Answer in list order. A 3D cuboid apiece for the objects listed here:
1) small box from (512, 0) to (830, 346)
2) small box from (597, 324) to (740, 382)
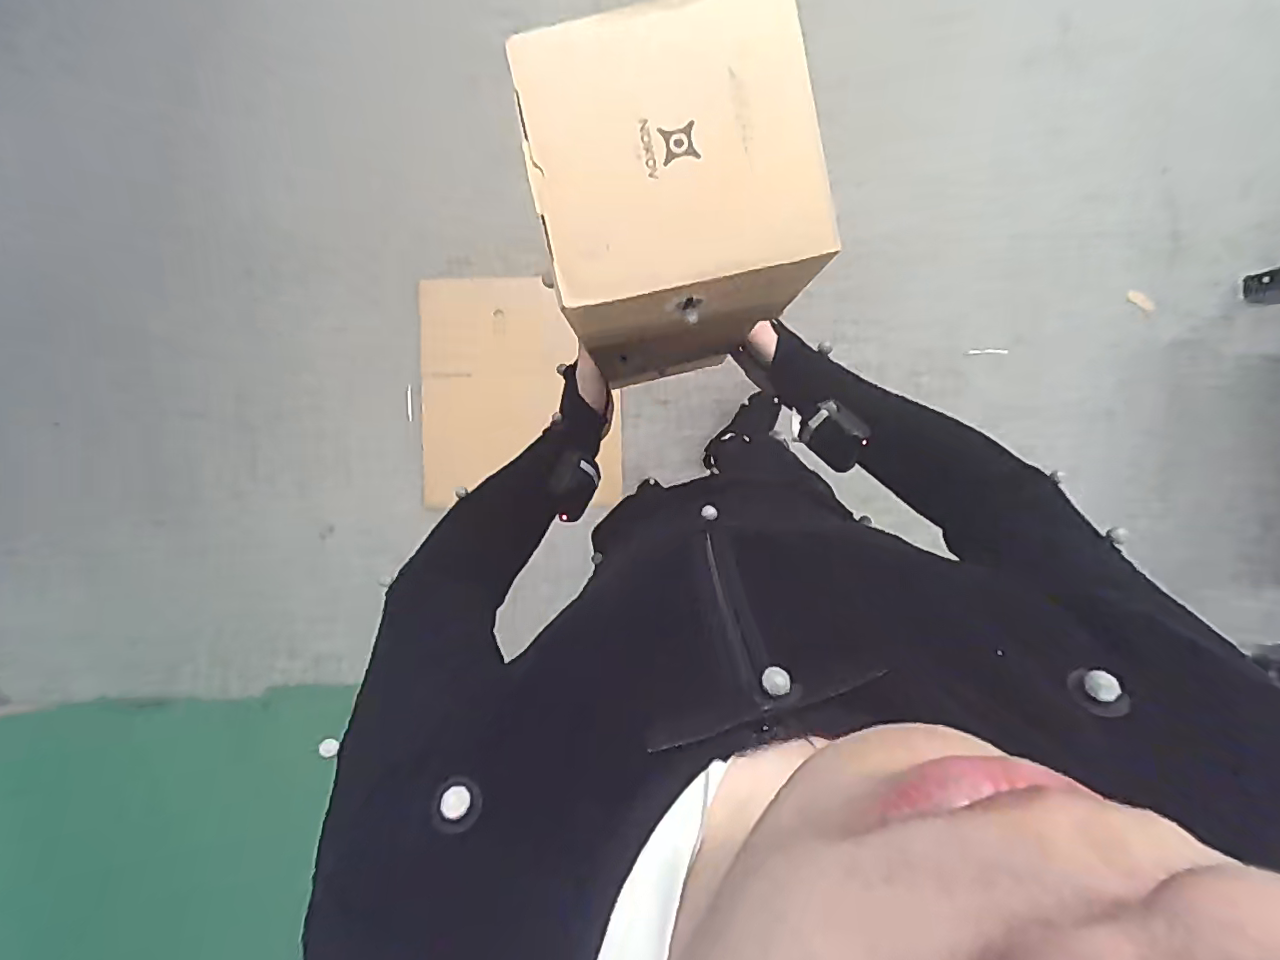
[{"bbox_3d":[0.022,-0.208,0.410,0.179,0.176,0.168,-10,93,2],"label":"small box"},{"bbox_3d":[0.025,-0.239,0.736,0.179,0.176,0.168,-12,92,2],"label":"small box"}]
